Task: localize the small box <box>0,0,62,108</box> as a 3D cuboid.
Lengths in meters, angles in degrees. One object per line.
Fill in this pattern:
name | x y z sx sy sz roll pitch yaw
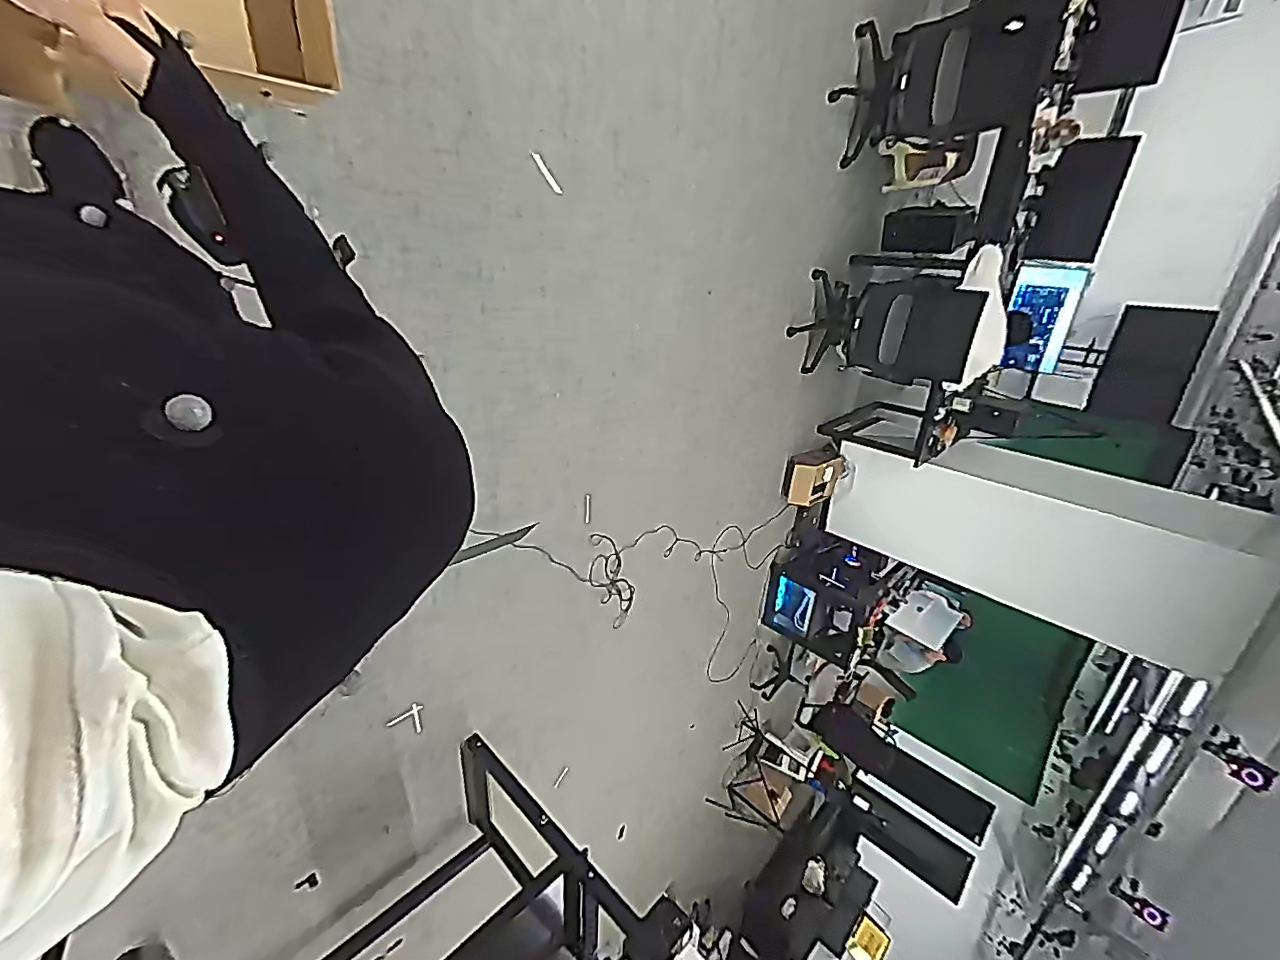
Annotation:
small box | -0.569 -0.431 0.399 0.168 0.176 0.179 -16 96 -48
